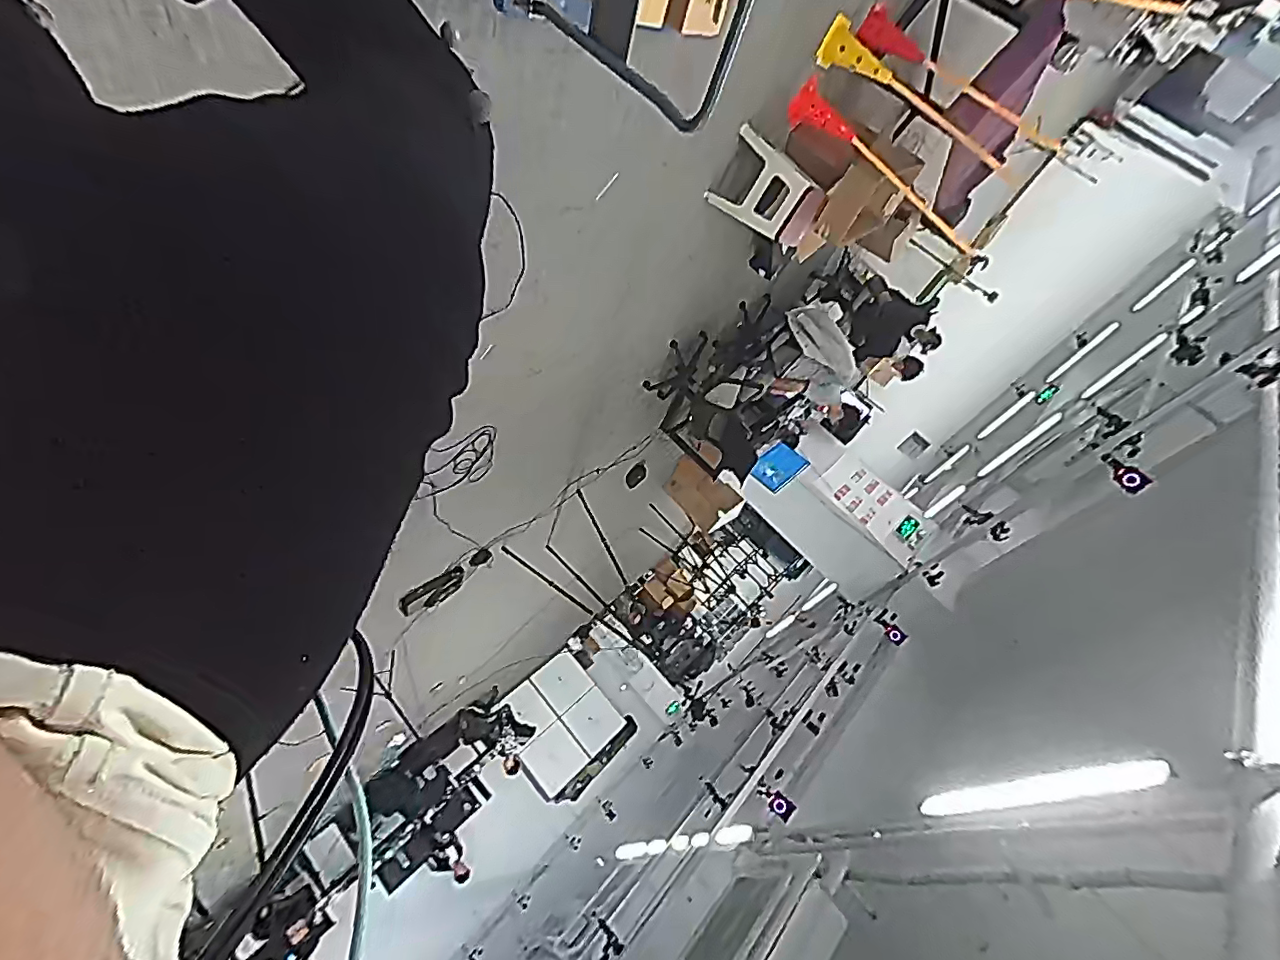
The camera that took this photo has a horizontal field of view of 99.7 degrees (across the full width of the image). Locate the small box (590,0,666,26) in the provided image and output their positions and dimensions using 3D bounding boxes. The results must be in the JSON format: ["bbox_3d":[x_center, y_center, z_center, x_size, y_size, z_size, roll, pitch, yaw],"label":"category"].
[{"bbox_3d":[-0.034,-1.300,1.375,0.179,0.176,0.168,-31,159,-38],"label":"small box"}]

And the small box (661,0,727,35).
[{"bbox_3d":[0.139,-1.404,1.534,0.179,0.176,0.168,-32,160,-35],"label":"small box"}]
